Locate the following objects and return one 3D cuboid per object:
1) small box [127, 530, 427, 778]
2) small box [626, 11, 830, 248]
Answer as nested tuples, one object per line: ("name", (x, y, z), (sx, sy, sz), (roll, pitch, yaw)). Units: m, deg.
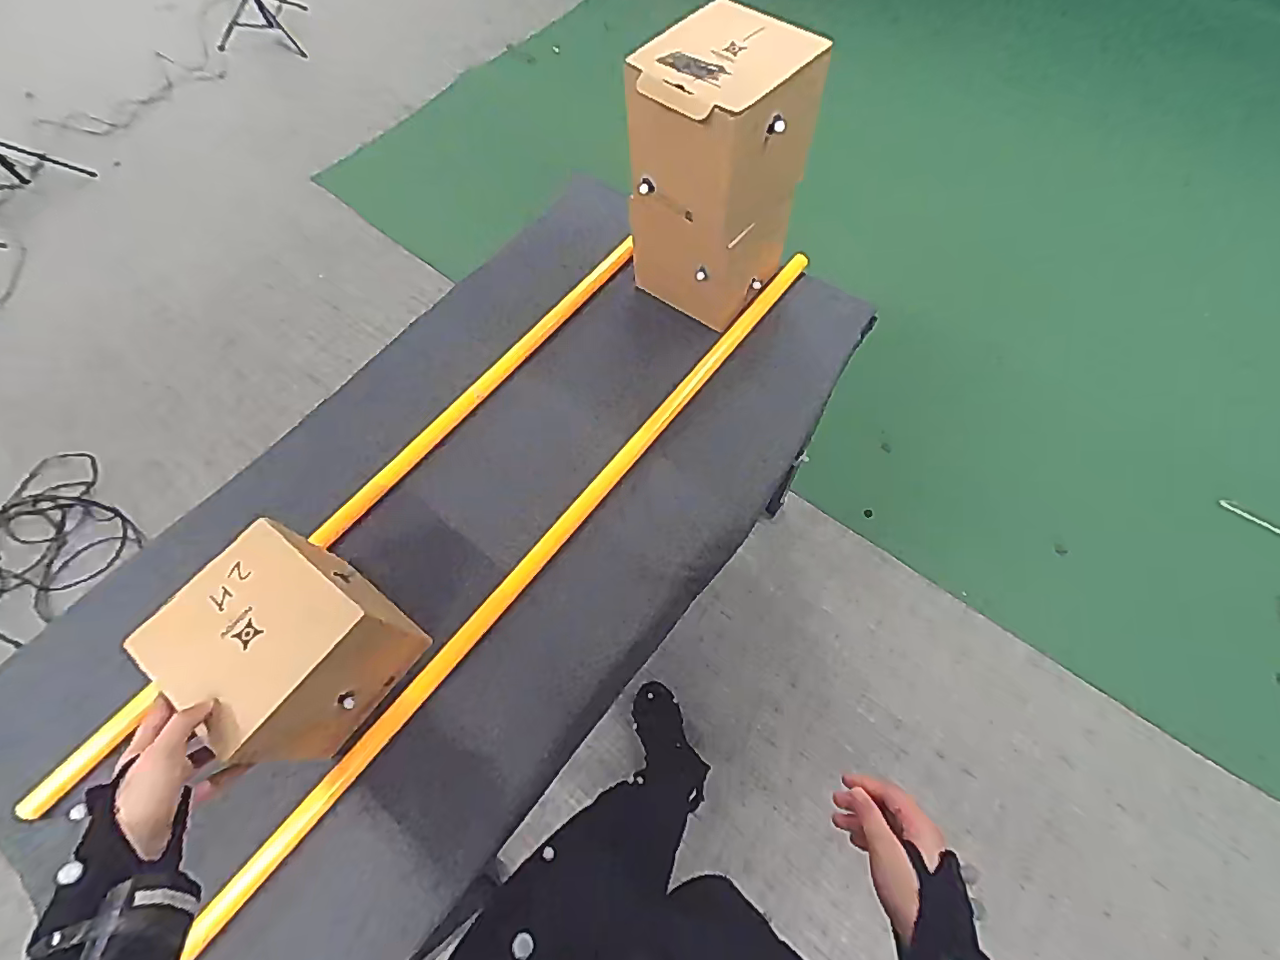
("small box", (-0.370, 0.188, 0.588), (0.179, 0.176, 0.168), (33, 69, 18))
("small box", (0.104, -0.431, 0.680), (0.168, 0.176, 0.179), (39, 72, 19))
